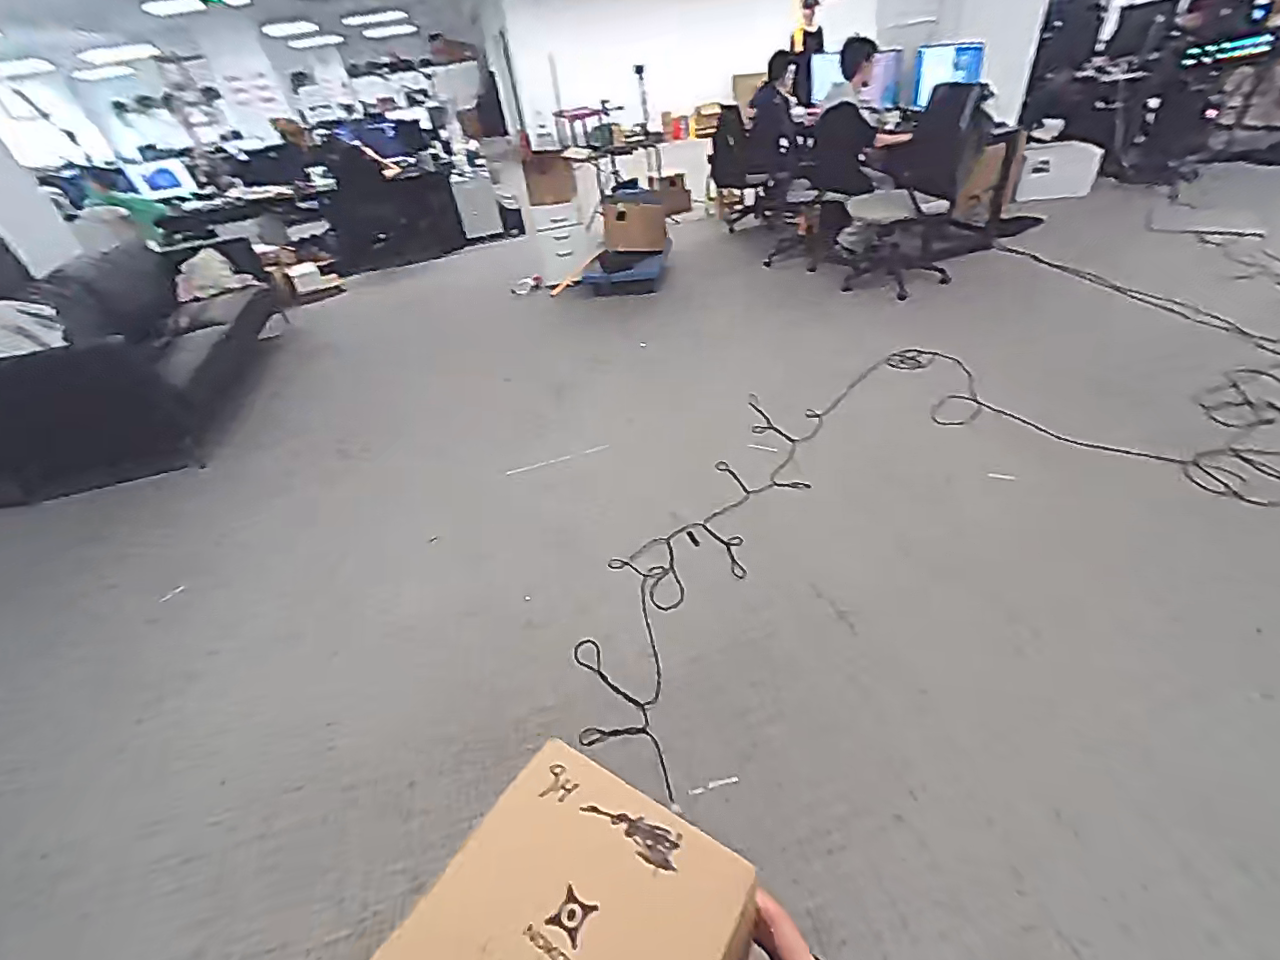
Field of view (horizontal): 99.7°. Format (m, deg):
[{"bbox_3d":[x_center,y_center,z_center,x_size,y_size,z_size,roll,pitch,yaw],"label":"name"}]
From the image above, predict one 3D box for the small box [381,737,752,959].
[{"bbox_3d":[-0.035,0.322,0.356,0.168,0.176,0.179,16,40,29],"label":"small box"}]
